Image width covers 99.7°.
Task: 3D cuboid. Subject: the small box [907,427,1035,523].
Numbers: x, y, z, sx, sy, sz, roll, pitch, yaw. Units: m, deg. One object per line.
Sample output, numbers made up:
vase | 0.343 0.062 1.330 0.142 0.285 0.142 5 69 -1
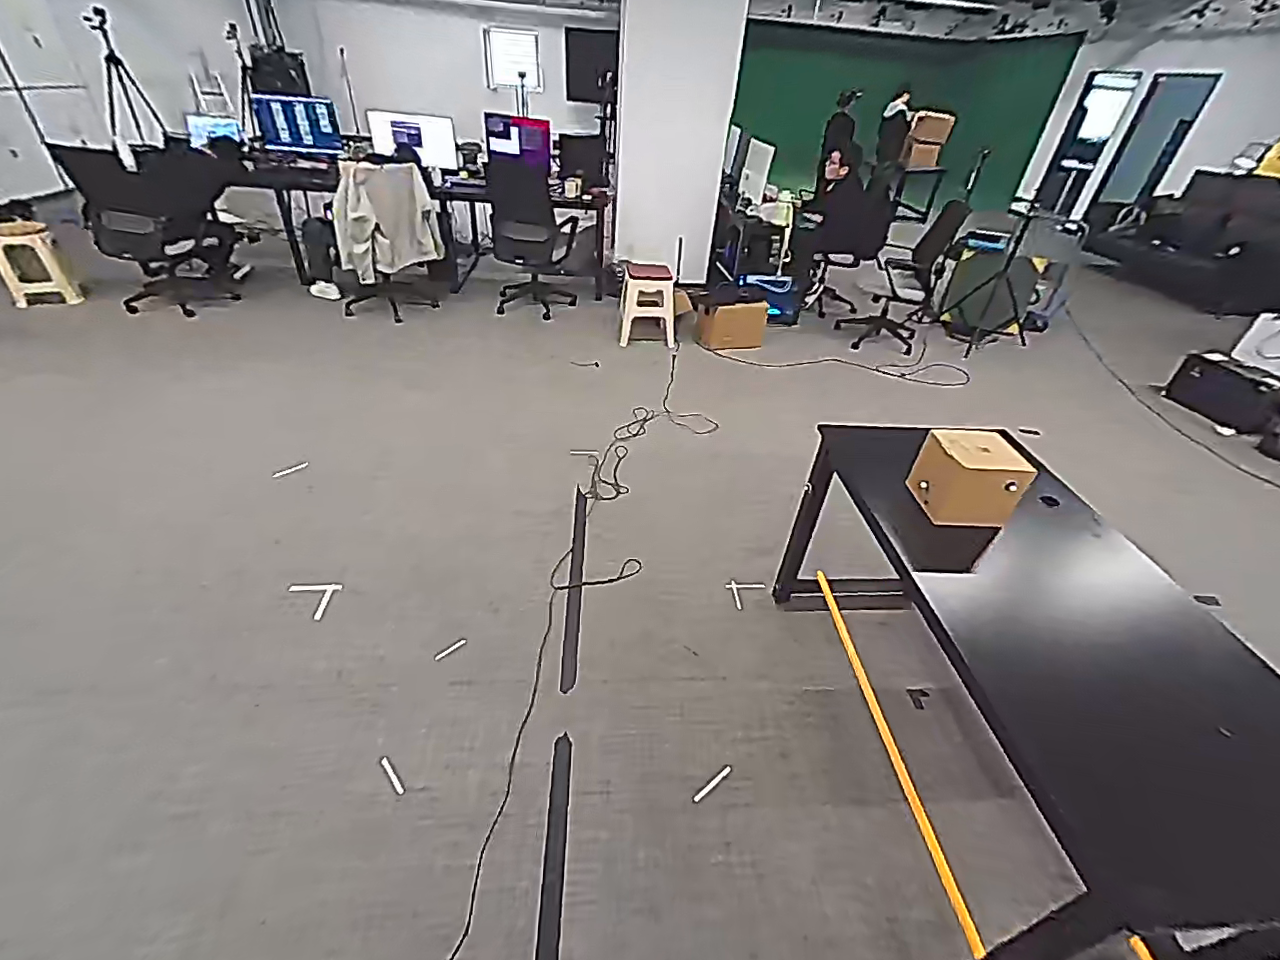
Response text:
small box | 0.785 -0.010 1.305 0.179 0.176 0.168 2 36 -4
